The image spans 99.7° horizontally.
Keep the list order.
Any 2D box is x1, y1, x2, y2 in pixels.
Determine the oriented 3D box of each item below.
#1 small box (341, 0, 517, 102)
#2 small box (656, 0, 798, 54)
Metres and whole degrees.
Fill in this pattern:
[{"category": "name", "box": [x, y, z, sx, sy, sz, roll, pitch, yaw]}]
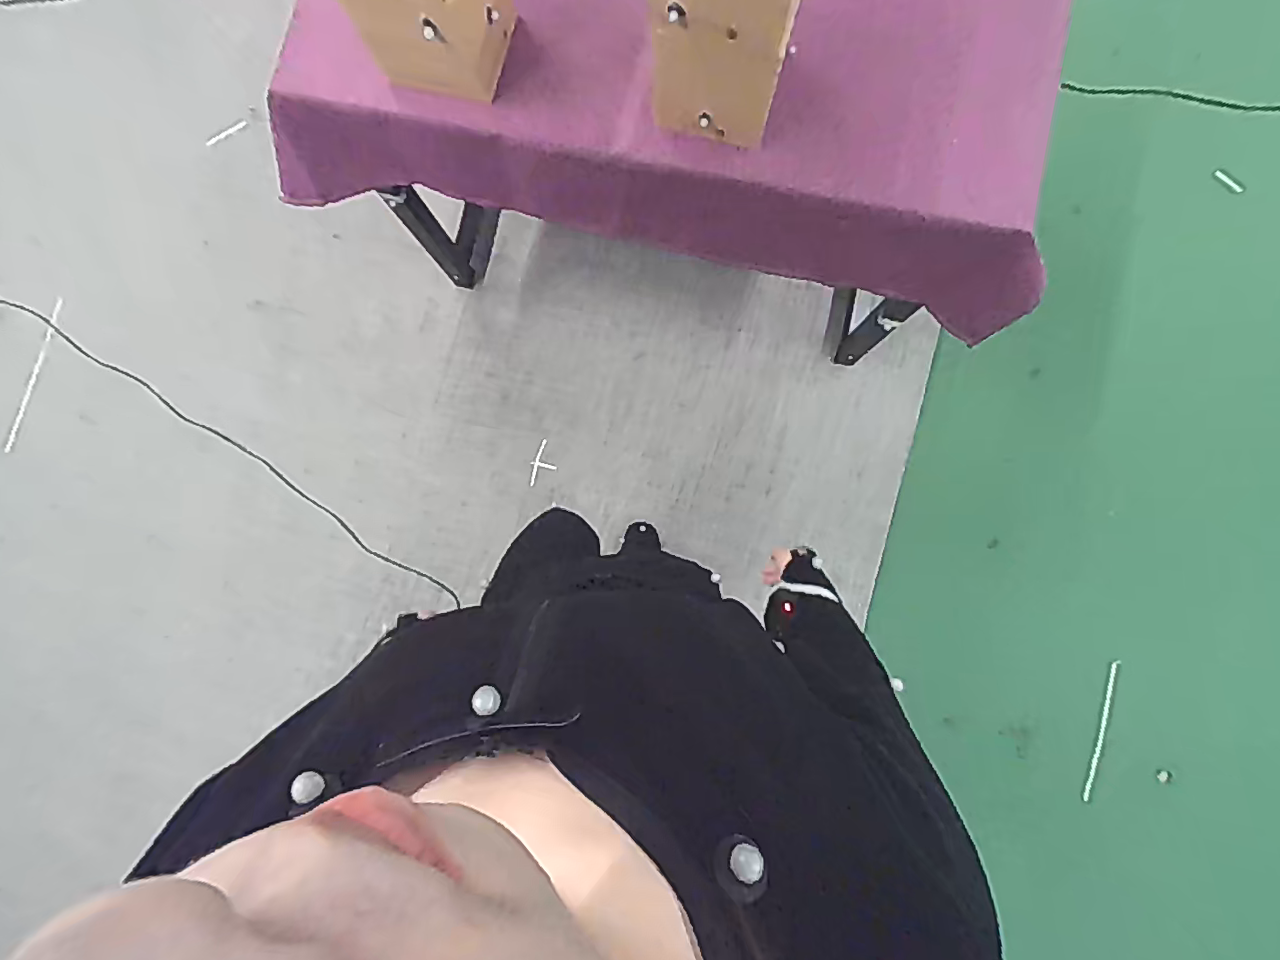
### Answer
[{"category": "small box", "box": [-0.295, -0.693, 0.781, 0.179, 0.176, 0.168, 15, 85, 3]}, {"category": "small box", "box": [0.114, -0.625, 0.593, 0.168, 0.176, 0.179, 18, 85, 4]}]
